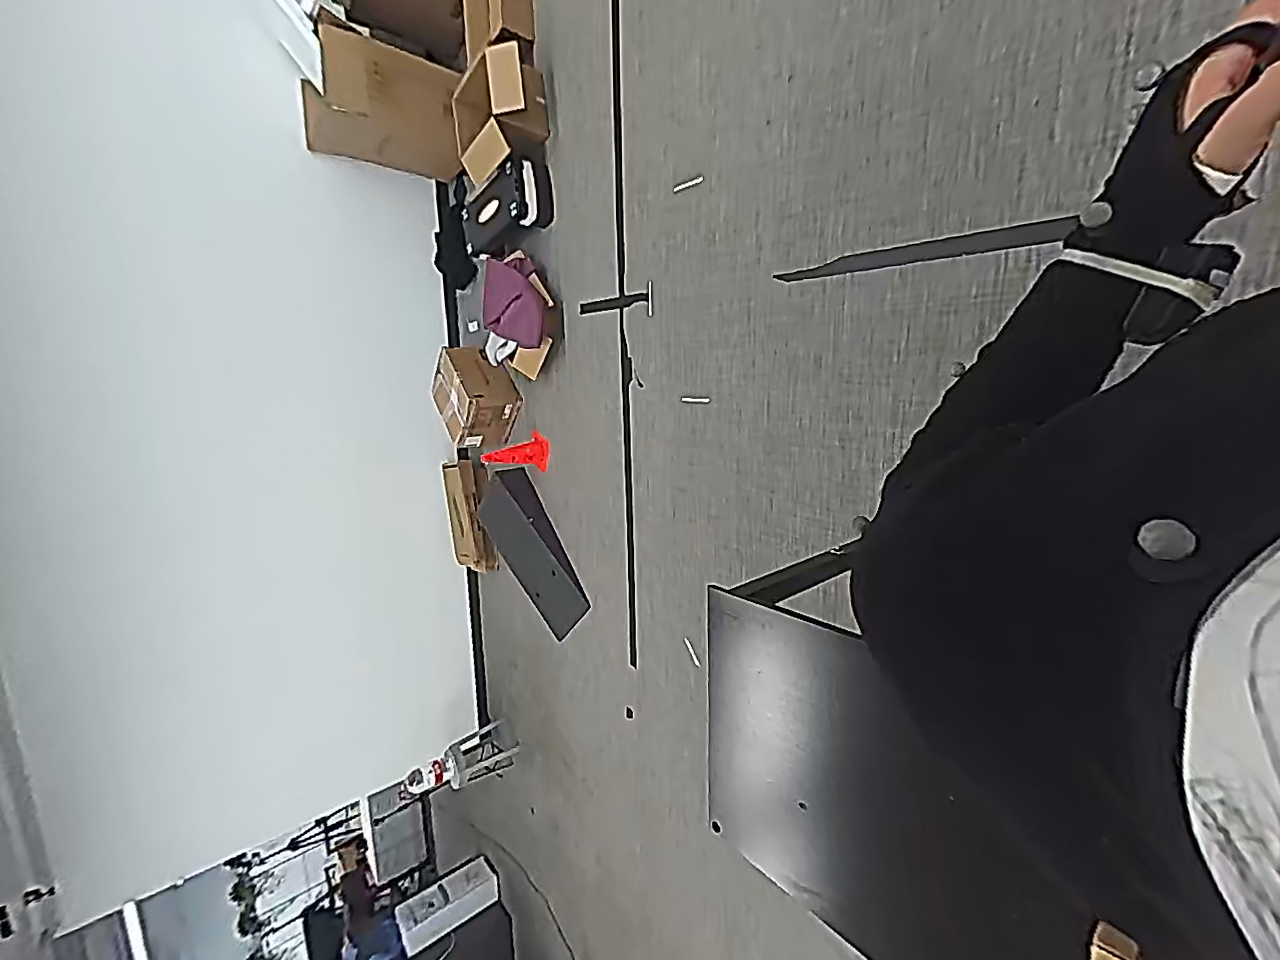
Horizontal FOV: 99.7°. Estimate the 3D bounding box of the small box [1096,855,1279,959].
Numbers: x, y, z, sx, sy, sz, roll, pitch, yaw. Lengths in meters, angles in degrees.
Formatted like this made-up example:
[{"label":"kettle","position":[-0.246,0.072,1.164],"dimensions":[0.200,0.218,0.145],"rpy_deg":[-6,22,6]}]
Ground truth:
[{"label":"small box","position":[0.590,0.543,0.556],"dimensions":[0.168,0.176,0.179],"rpy_deg":[4,100,51]}]
